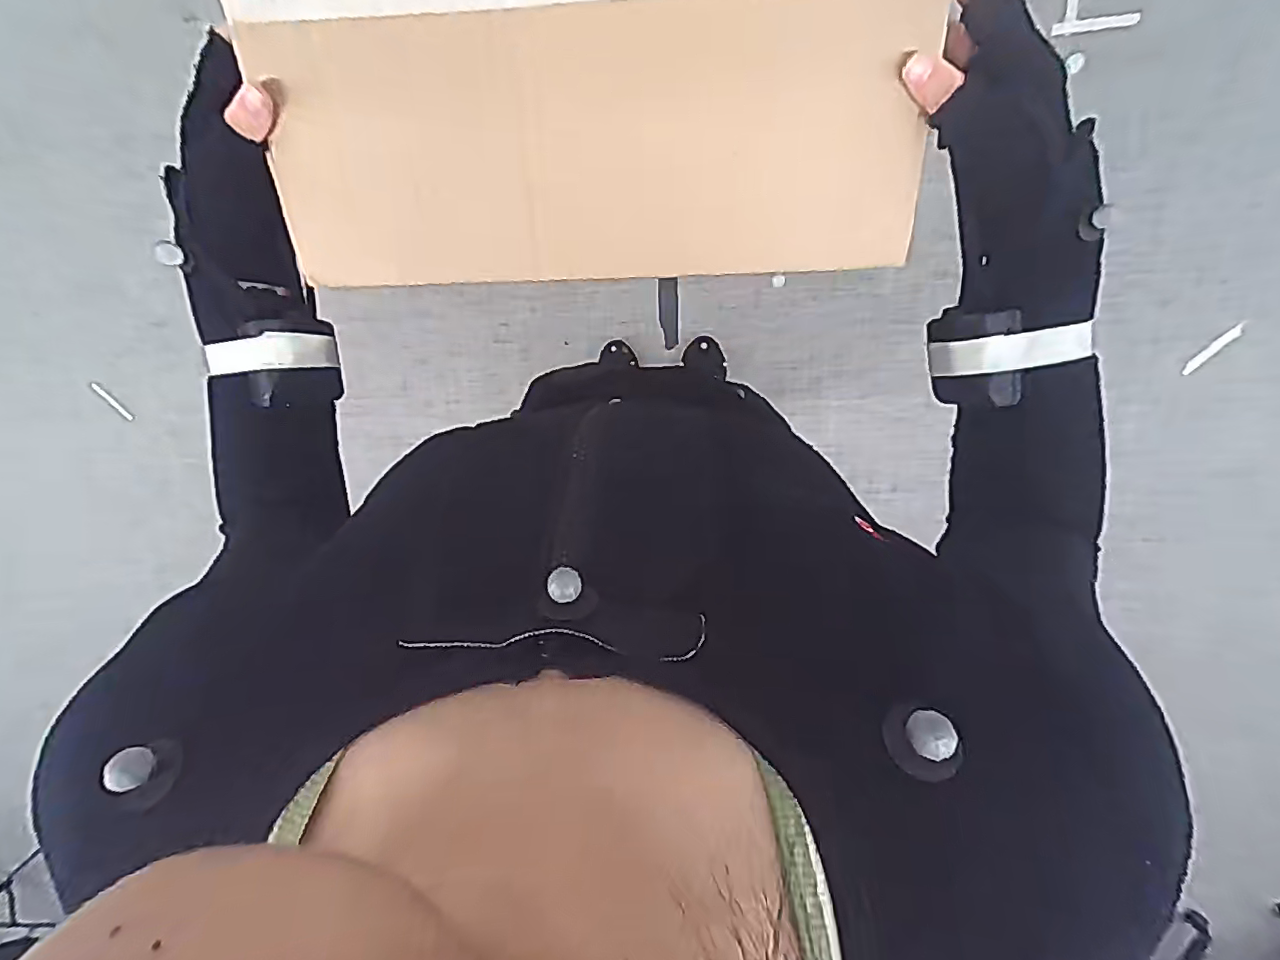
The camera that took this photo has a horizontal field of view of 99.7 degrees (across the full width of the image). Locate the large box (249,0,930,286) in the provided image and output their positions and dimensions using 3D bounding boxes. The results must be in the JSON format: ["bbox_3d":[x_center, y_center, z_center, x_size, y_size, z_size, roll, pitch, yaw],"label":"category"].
[{"bbox_3d":[-0.025,-0.350,0.441,0.408,0.320,0.320,-1,116,4],"label":"large box"}]
